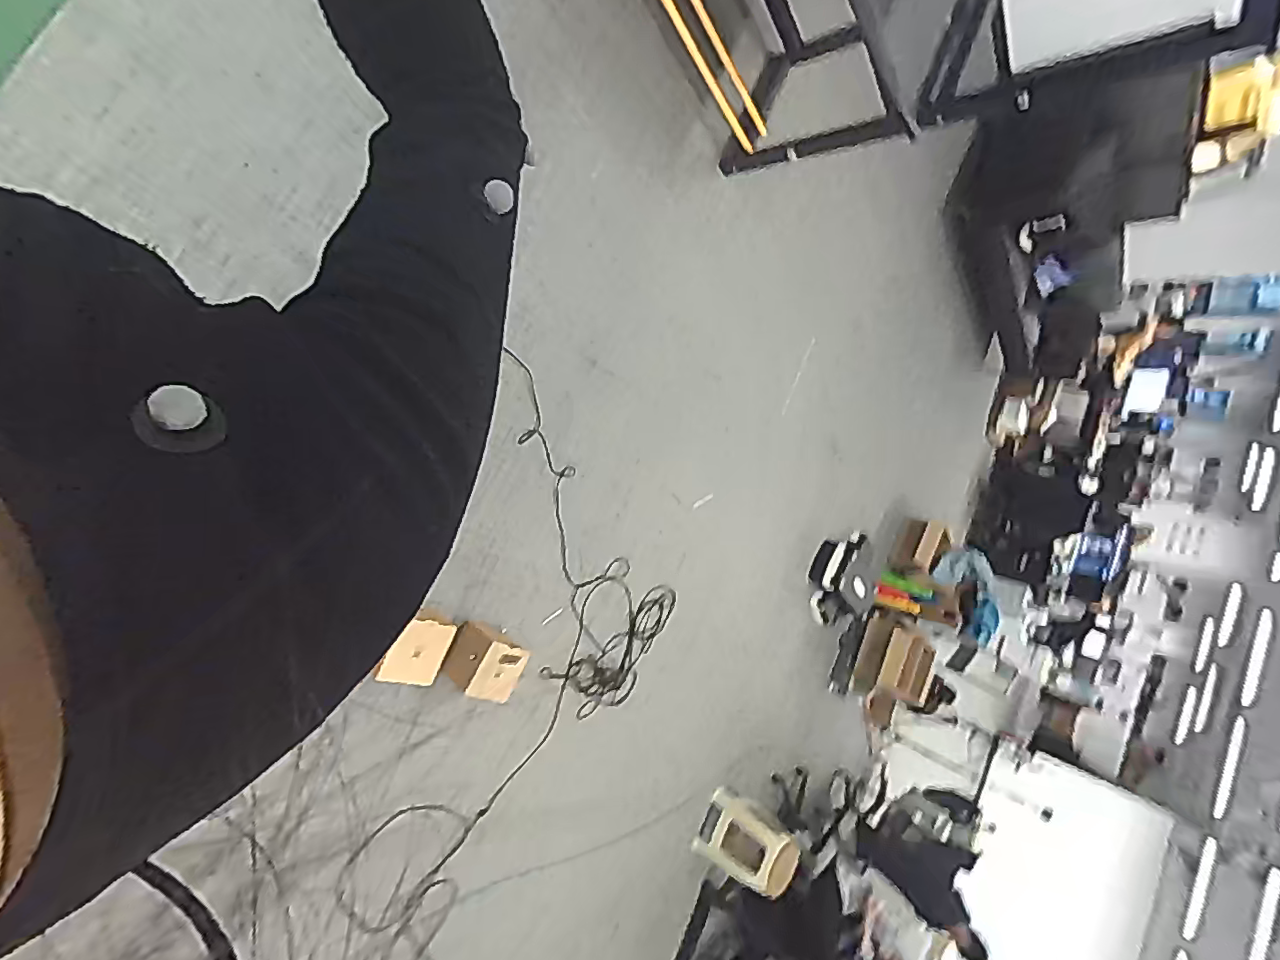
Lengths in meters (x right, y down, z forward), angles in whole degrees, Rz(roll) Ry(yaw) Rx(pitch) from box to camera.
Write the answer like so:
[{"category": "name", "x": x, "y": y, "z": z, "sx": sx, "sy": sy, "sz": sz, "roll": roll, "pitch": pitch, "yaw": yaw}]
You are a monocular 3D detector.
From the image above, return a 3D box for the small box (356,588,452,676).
[{"category": "small box", "x": -0.668, "y": 0.427, "z": 1.522, "sx": 0.168, "sy": 0.176, "sz": 0.179, "roll": 31, "pitch": 78, "yaw": -46}]

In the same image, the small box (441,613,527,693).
[{"category": "small box", "x": -0.502, "y": 0.549, "z": 1.726, "sx": 0.168, "sy": 0.176, "sz": 0.179, "roll": 38, "pitch": 75, "yaw": -45}]
